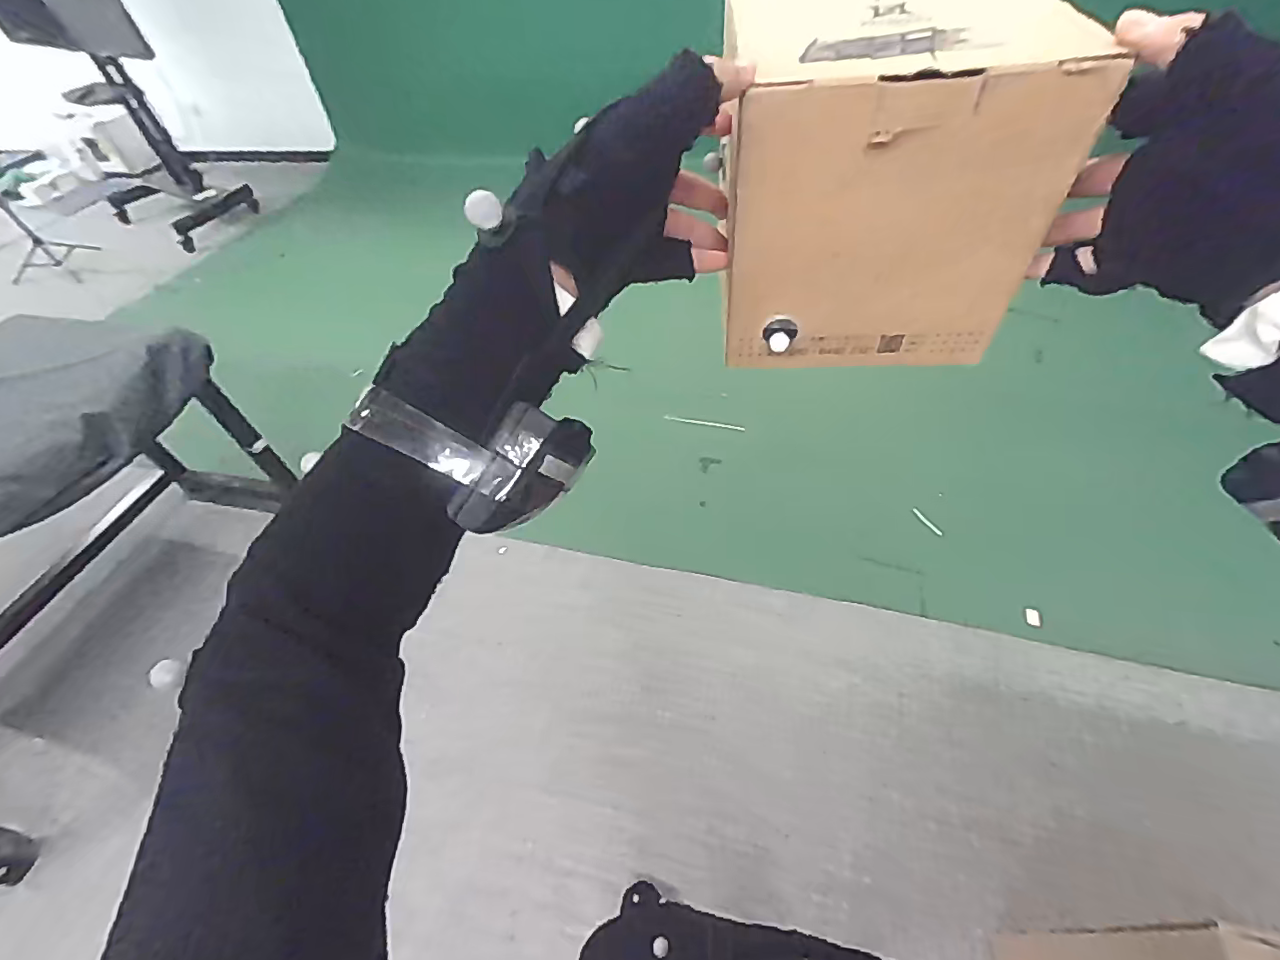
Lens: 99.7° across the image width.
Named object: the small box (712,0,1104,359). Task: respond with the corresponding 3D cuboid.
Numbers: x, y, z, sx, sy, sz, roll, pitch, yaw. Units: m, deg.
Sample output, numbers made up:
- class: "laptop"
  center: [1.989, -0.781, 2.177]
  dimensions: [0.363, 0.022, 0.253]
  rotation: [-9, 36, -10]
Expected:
- class: "small box"
  center: [0.133, -0.194, 0.355]
  dimensions: [0.168, 0.176, 0.179]
  rotation: [0, 52, 6]
